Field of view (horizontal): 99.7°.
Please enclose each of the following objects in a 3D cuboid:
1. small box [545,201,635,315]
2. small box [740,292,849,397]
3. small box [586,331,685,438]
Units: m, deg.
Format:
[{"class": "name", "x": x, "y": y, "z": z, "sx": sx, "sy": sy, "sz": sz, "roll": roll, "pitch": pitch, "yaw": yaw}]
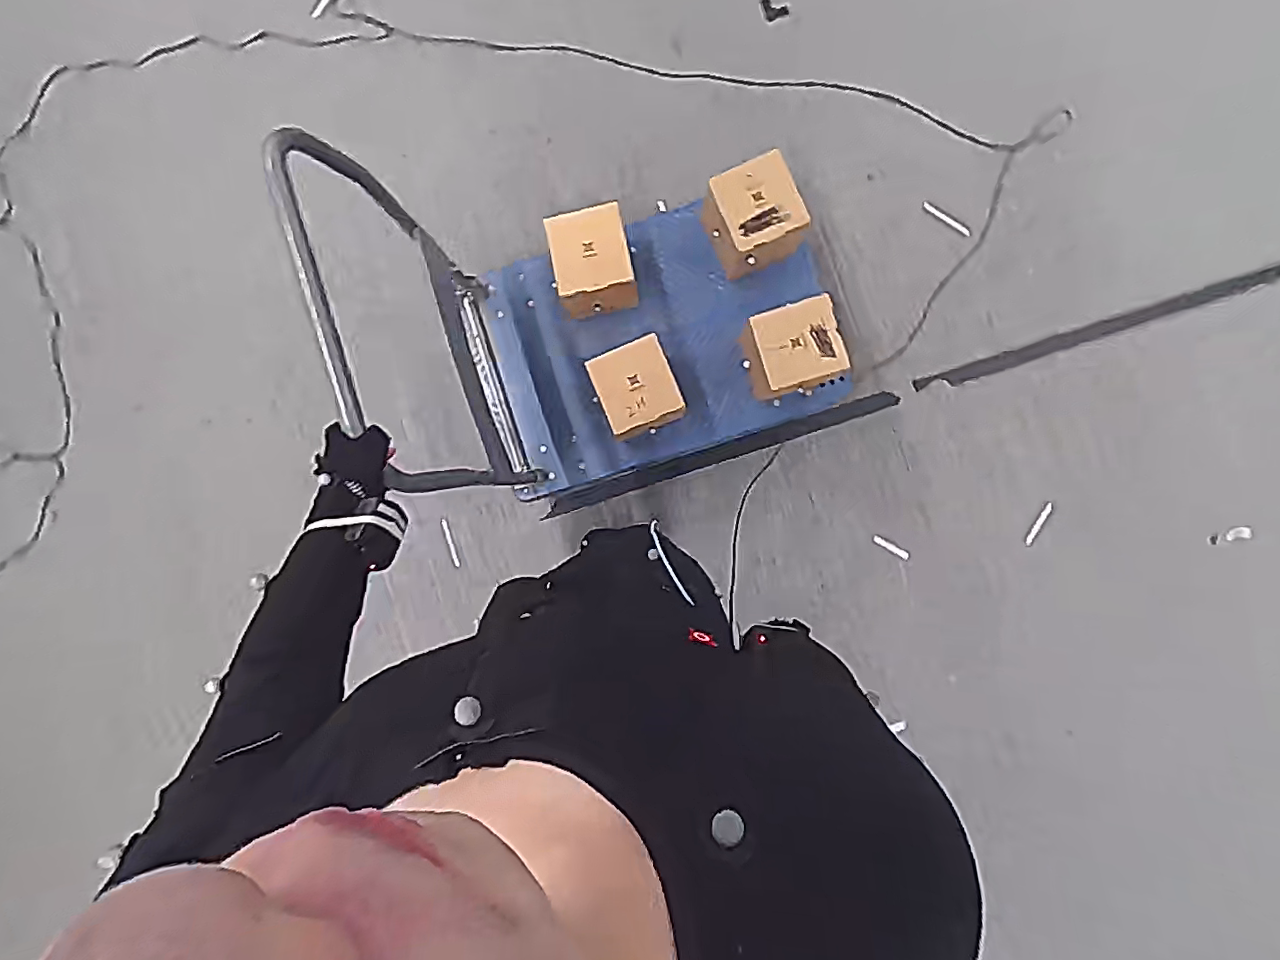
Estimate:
[{"class": "small box", "x": -0.108, "y": -0.501, "z": 1.241, "sx": 0.168, "sy": 0.176, "sz": 0.179, "roll": -13, "pitch": 91, "yaw": 2}, {"class": "small box", "x": 0.340, "y": -0.296, "z": 1.220, "sx": 0.179, "sy": 0.176, "sz": 0.168, "roll": -17, "pitch": 89, "yaw": 3}, {"class": "small box", "x": -0.008, "y": -0.210, "z": 1.235, "sx": 0.168, "sy": 0.176, "sz": 0.179, "roll": -23, "pitch": 89, "yaw": 3}]
